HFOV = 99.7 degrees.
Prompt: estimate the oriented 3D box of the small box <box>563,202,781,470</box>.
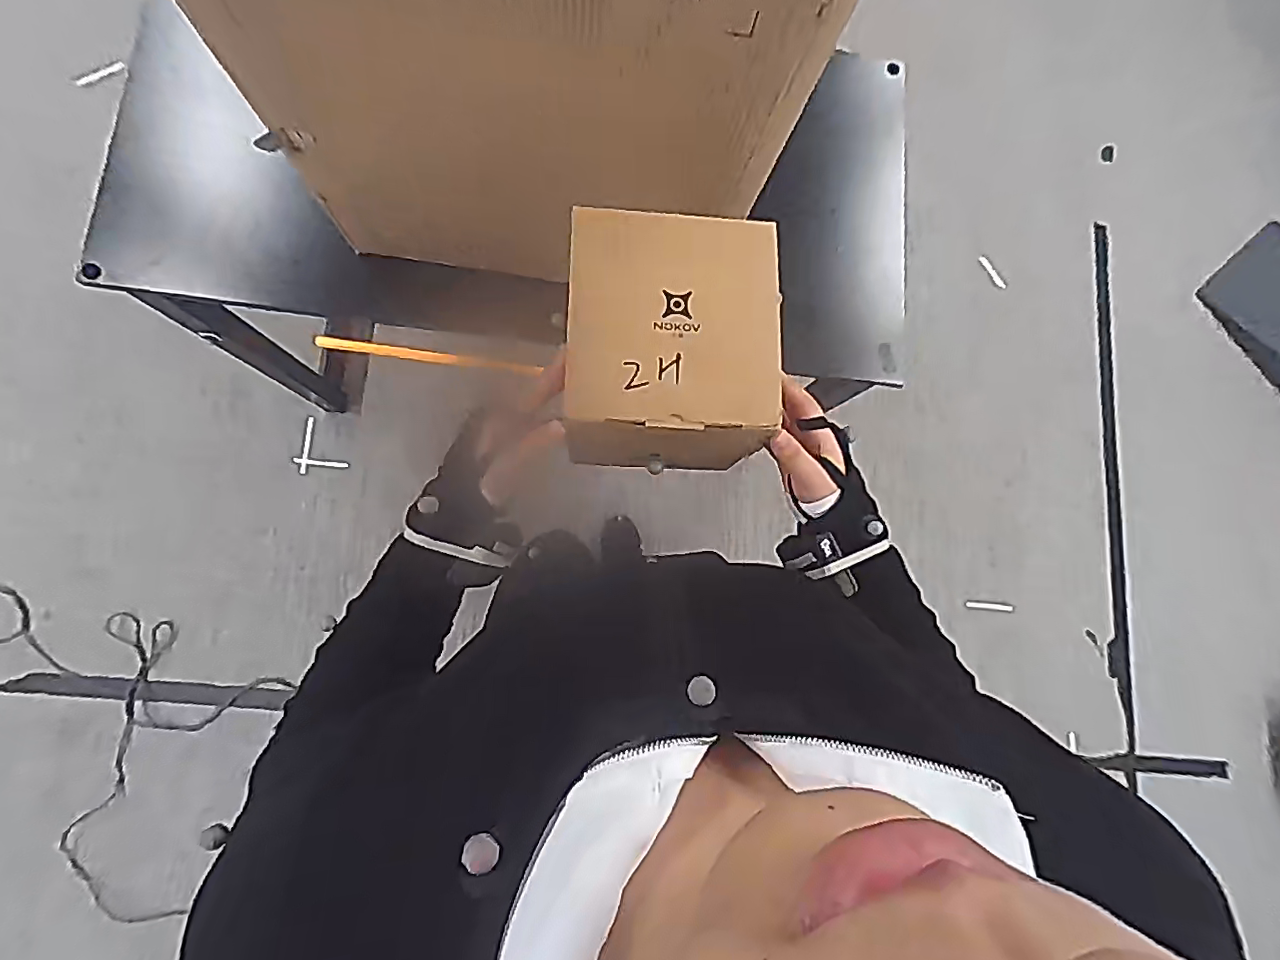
[{"bbox_3d":[0.019,-0.114,0.490,0.168,0.176,0.179,2,79,-4],"label":"small box"}]
